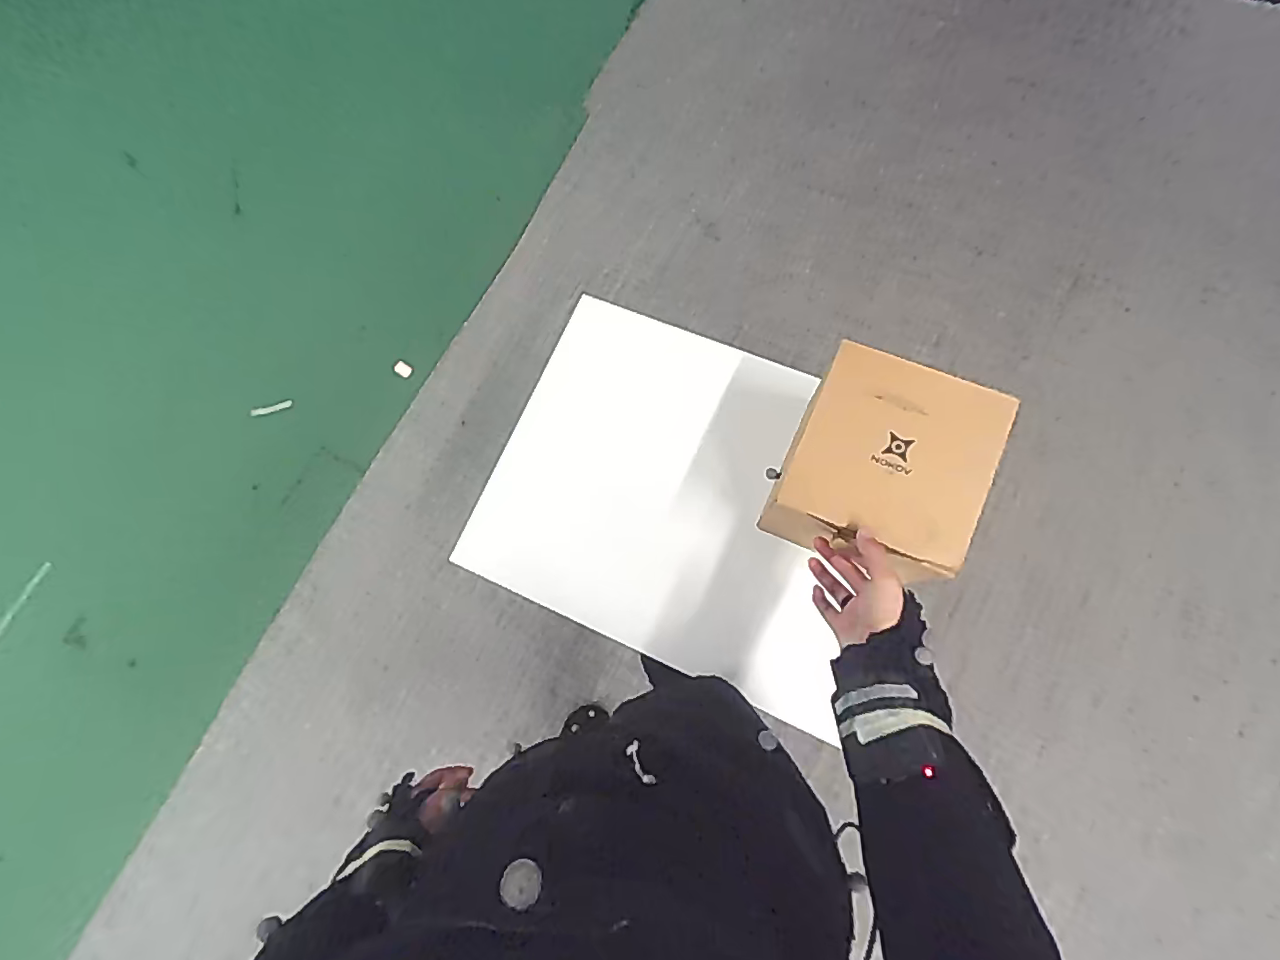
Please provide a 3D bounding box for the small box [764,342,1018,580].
[{"bbox_3d":[0.239,-0.006,0.563,0.168,0.176,0.179,23,80,10],"label":"small box"}]
